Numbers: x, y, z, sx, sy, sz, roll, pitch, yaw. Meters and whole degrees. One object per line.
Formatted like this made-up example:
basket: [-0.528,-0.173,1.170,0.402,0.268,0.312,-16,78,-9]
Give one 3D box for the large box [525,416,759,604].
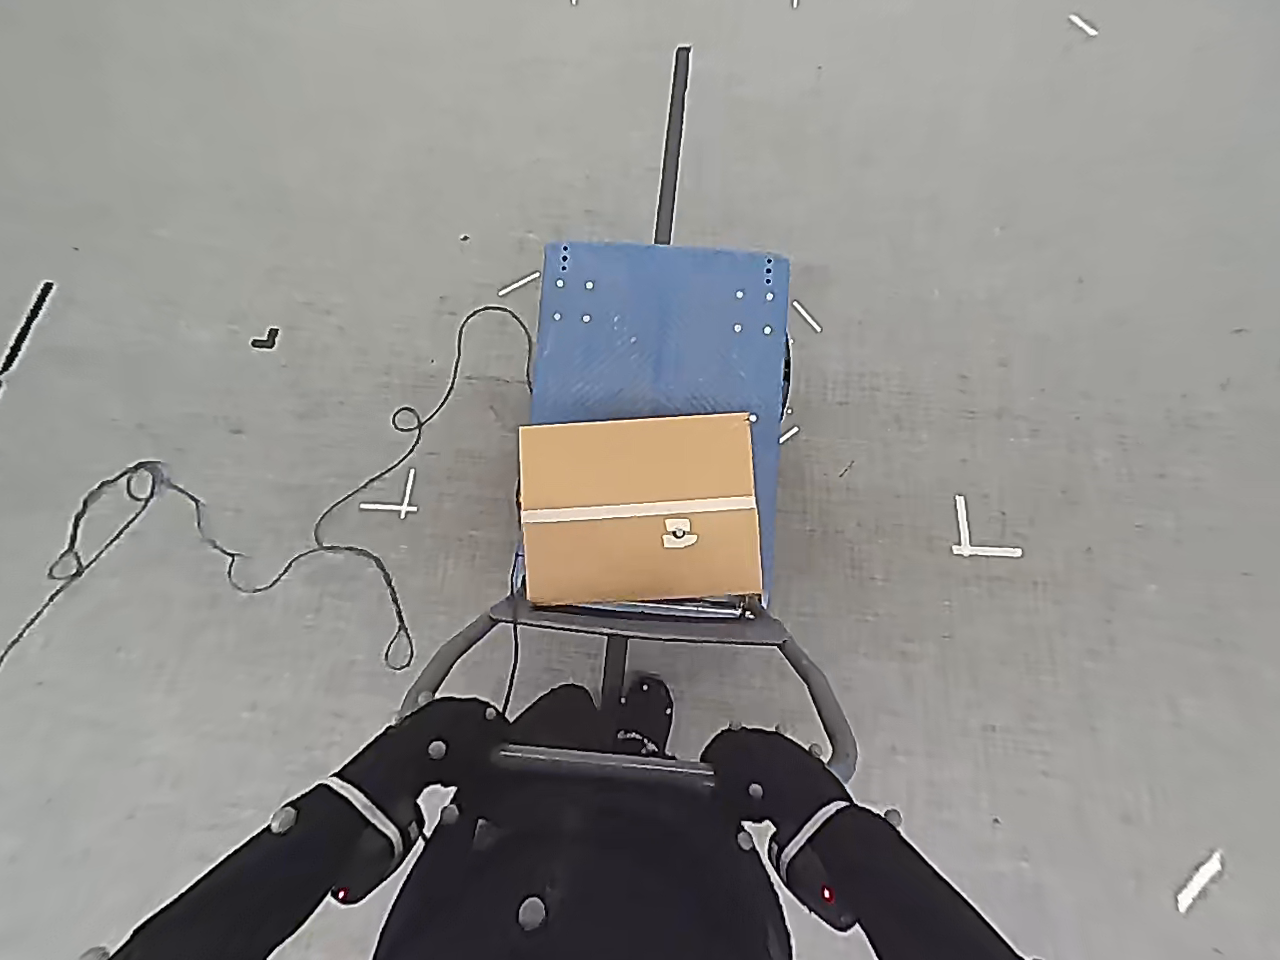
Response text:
large box: [0.001,0.062,1.102,0.408,0.320,0.320,-3,87,0]
